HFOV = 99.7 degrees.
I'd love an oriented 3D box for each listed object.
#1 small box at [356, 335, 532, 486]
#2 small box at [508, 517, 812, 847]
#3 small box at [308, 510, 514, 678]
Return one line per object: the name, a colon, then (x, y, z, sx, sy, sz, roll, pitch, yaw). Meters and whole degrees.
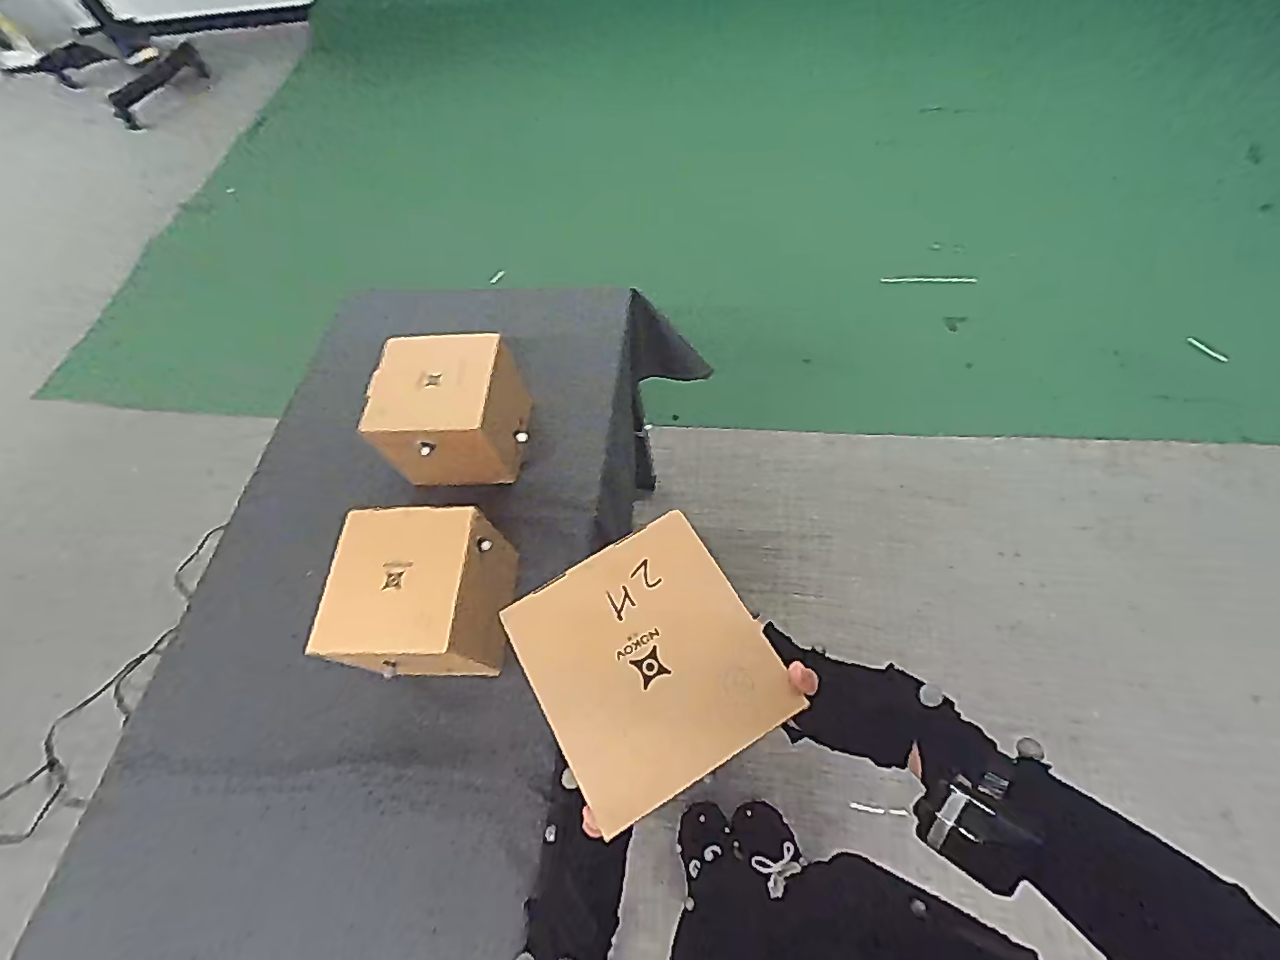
small box: (-0.282, -0.099, 0.819, 0.179, 0.176, 0.168, 0, 64, 7)
small box: (0.017, 0.164, 0.464, 0.168, 0.176, 0.179, -29, 67, -7)
small box: (-0.271, 0.152, 0.688, 0.168, 0.176, 0.179, -2, 62, 7)
